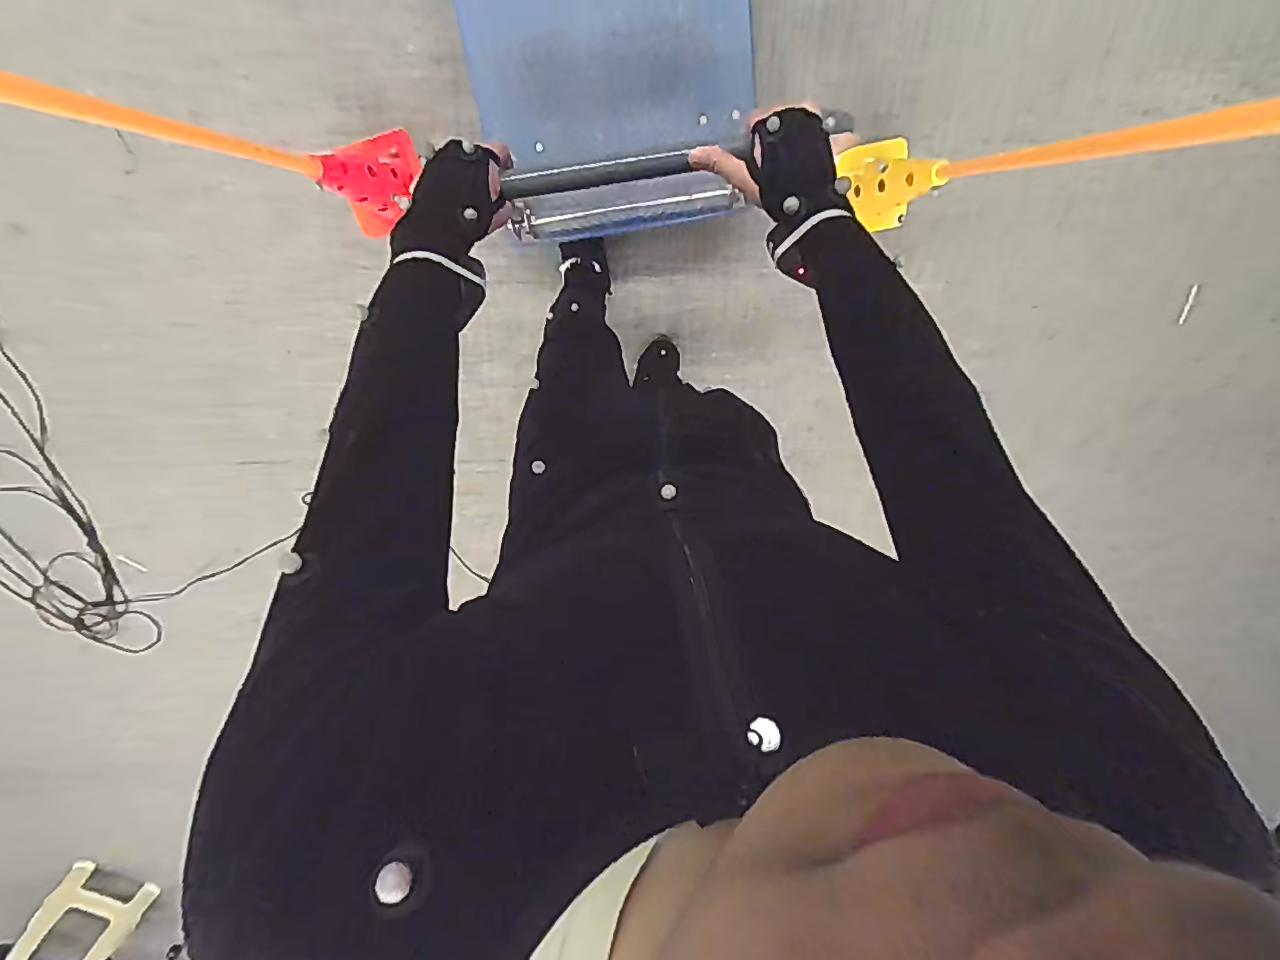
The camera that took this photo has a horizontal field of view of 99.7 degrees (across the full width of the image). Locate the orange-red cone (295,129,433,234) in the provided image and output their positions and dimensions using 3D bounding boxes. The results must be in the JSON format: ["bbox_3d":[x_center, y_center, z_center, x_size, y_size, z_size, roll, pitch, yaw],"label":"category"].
[{"bbox_3d":[-0.613,-0.643,1.140,0.199,0.360,0.198,-13,113,5],"label":"orange-red cone"}]
